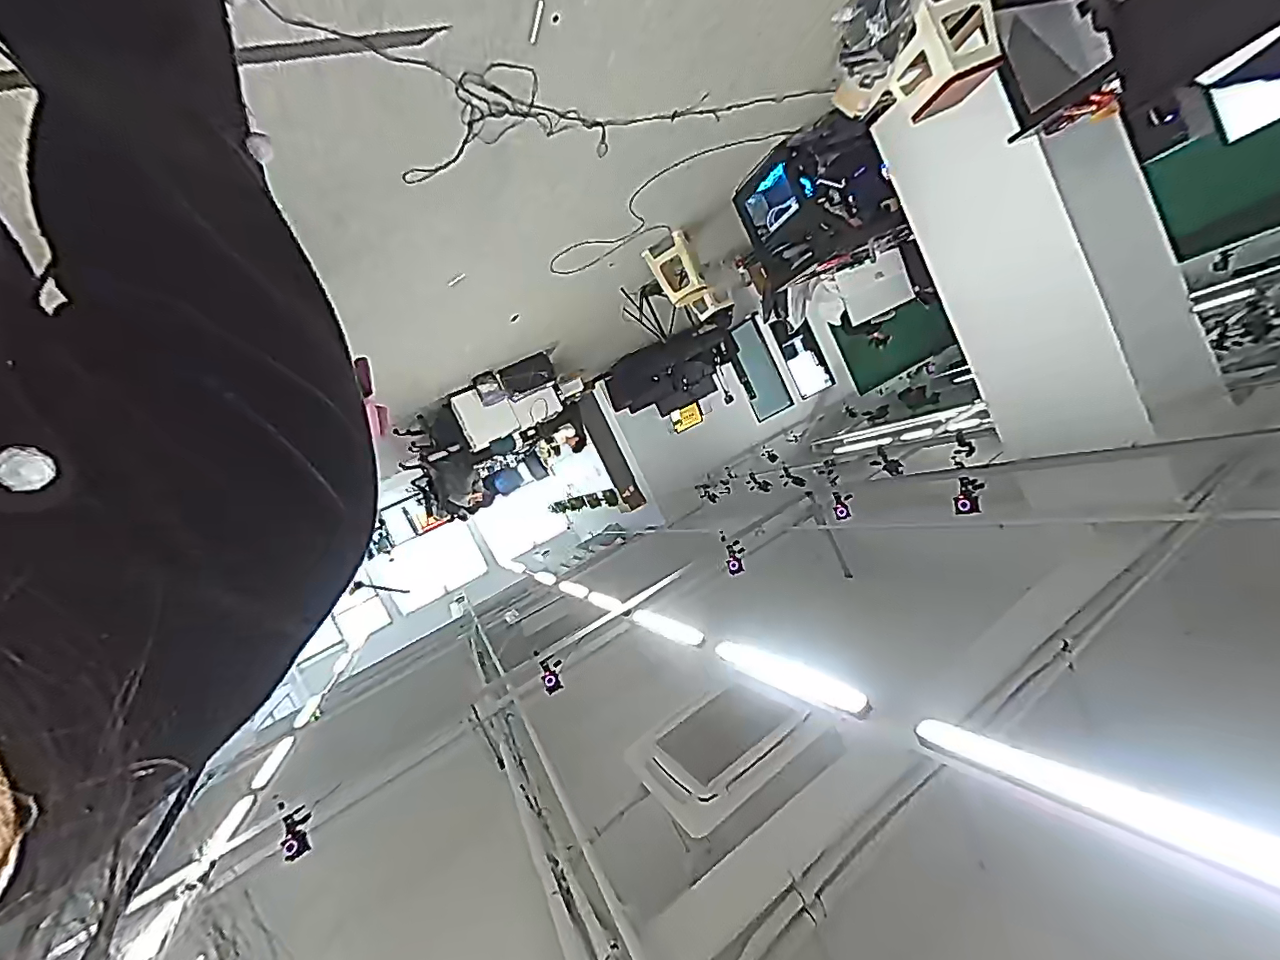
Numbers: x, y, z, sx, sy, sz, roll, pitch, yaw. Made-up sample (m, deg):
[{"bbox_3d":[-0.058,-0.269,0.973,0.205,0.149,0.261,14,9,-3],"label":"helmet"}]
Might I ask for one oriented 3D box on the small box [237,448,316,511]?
[{"bbox_3d":[-1.308,-0.004,1.949,0.168,0.176,0.179,-28,-174,-21],"label":"small box"}]
